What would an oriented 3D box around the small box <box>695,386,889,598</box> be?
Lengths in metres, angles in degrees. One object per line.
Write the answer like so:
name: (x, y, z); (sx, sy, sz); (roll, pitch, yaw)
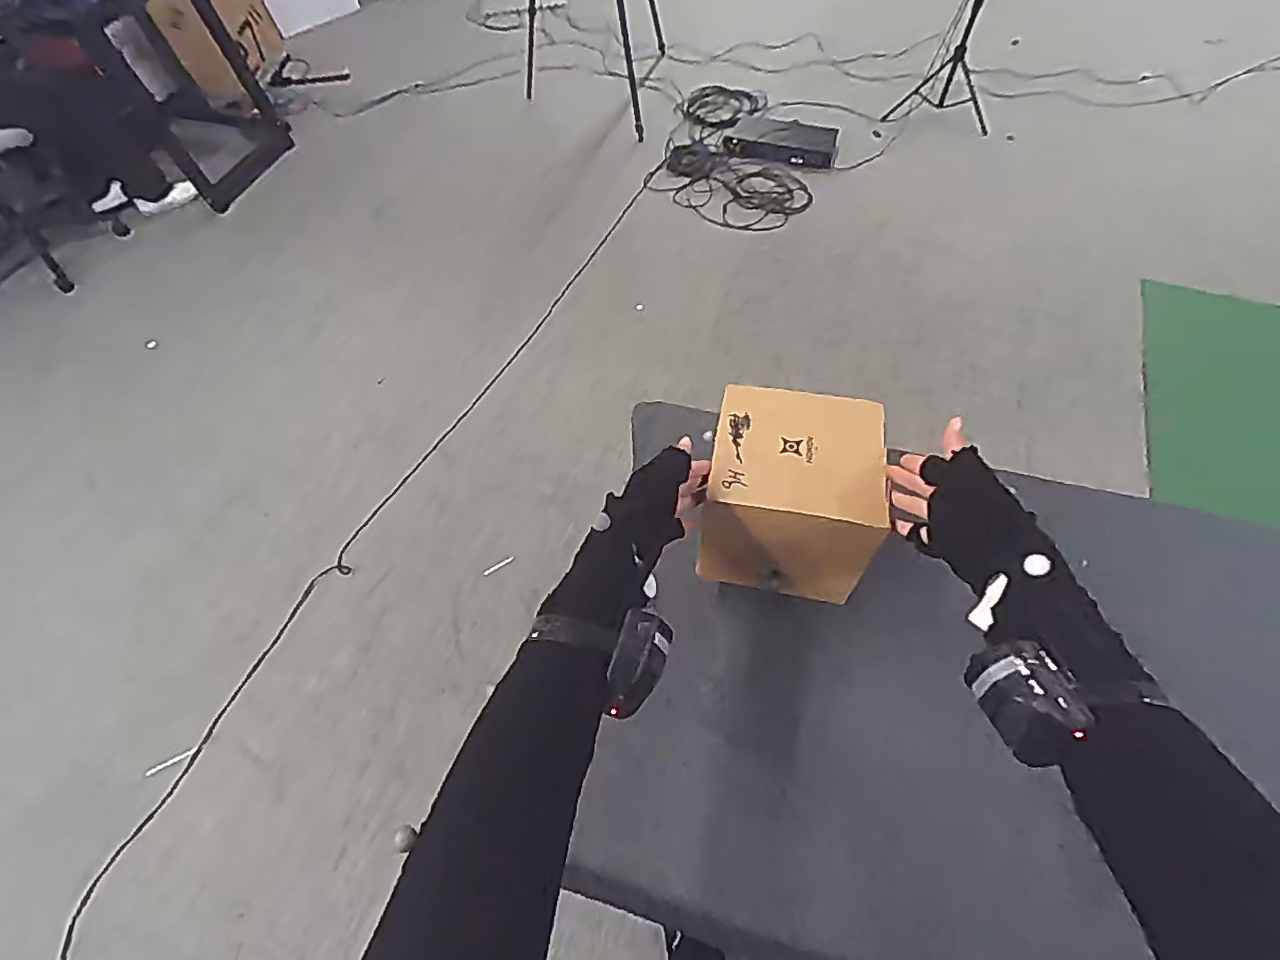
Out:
small box: (0.167, 0.019, 0.623); (0.179, 0.176, 0.168); (10, 55, 8)
